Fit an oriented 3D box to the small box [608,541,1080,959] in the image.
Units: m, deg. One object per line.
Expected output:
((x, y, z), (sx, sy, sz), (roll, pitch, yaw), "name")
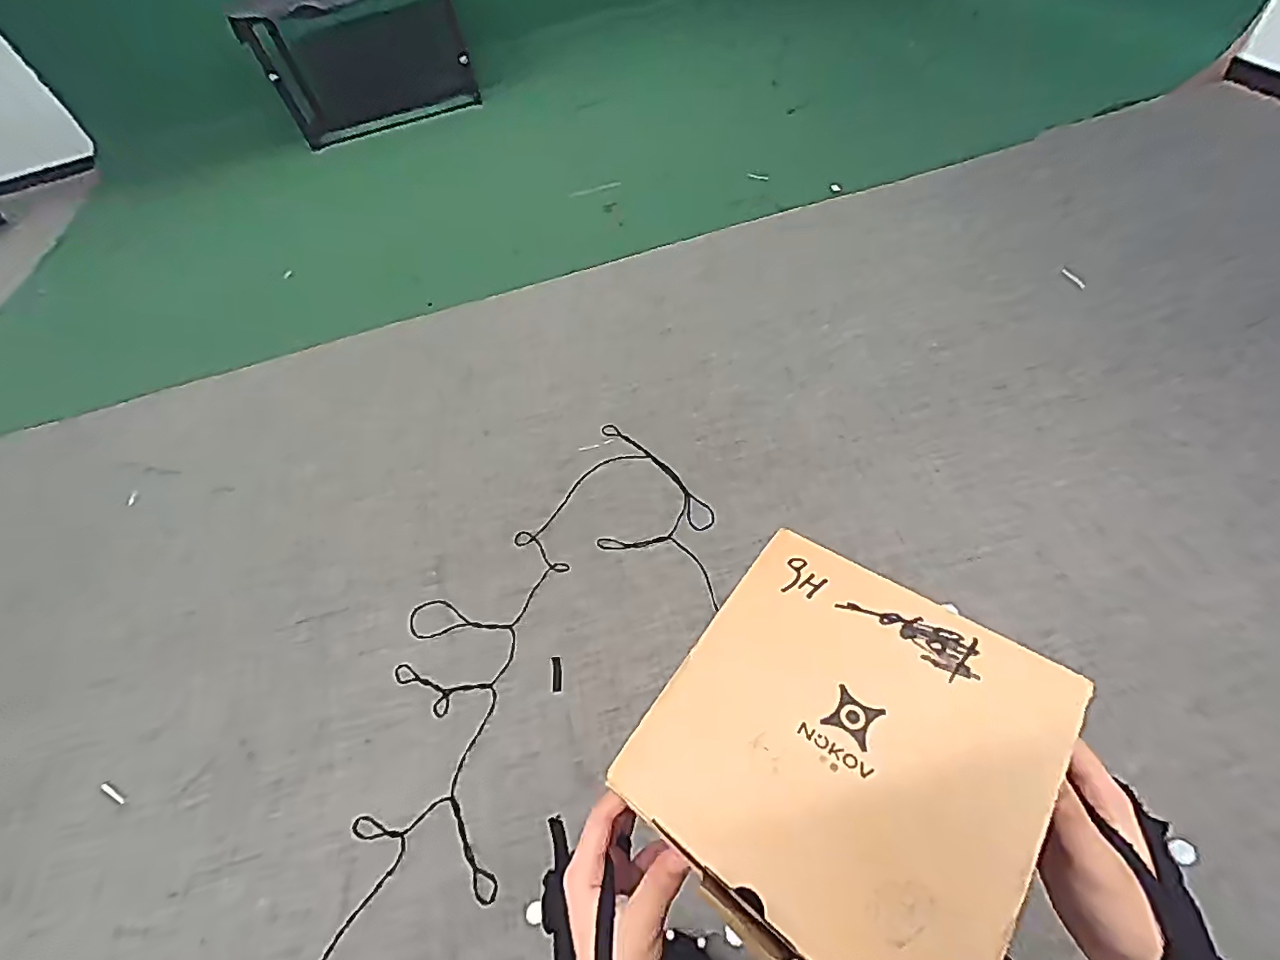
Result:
((0.111, 0.177, 0.327), (0.168, 0.176, 0.179), (28, 64, 29), "small box")
